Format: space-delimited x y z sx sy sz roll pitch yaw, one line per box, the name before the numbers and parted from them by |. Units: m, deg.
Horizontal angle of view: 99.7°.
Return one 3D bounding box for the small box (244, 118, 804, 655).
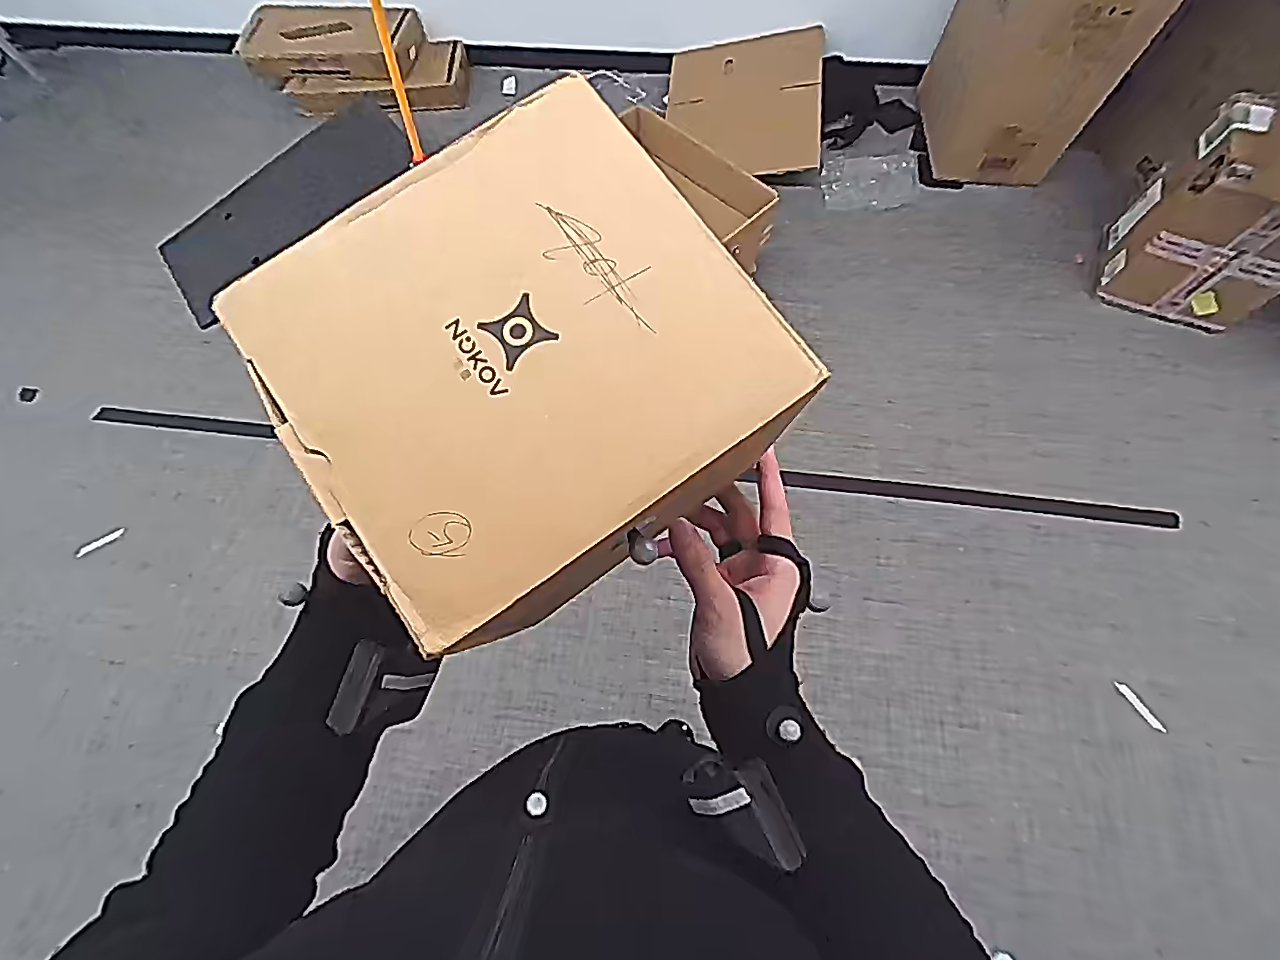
small box | -0.047 -0.032 0.296 0.179 0.176 0.168 -35 81 -6
